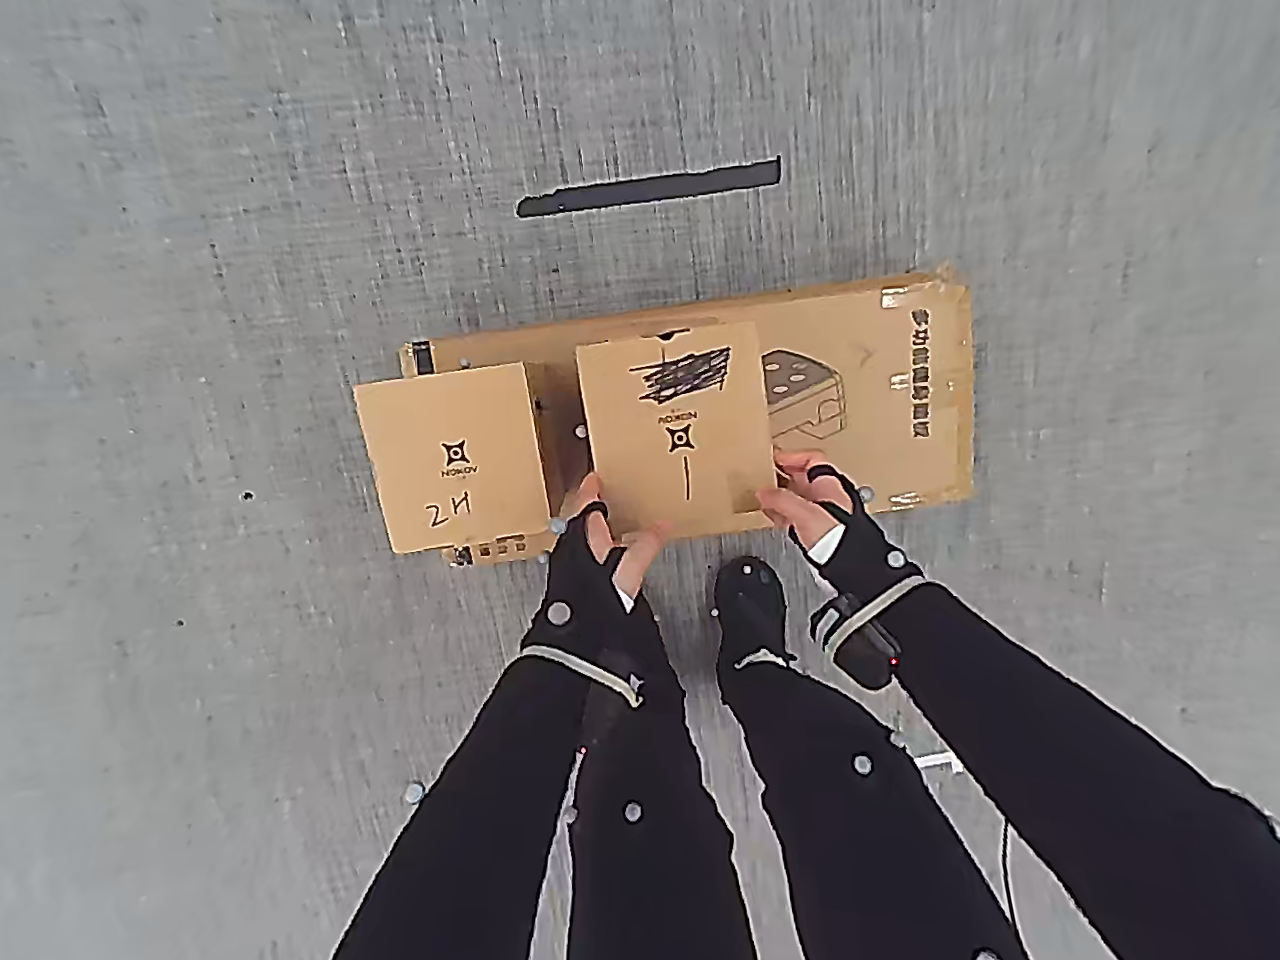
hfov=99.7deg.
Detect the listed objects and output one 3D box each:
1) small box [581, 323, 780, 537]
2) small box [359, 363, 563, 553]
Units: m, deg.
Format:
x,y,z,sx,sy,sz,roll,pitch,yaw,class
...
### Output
x,y,z,sx,sy,sz,roll,pitch,yaw,class
0.032,-0.051,0.567,0.168,0.176,0.179,-9,96,-3,small box
-0.185,-0.035,0.616,0.168,0.176,0.179,-8,103,-1,small box
